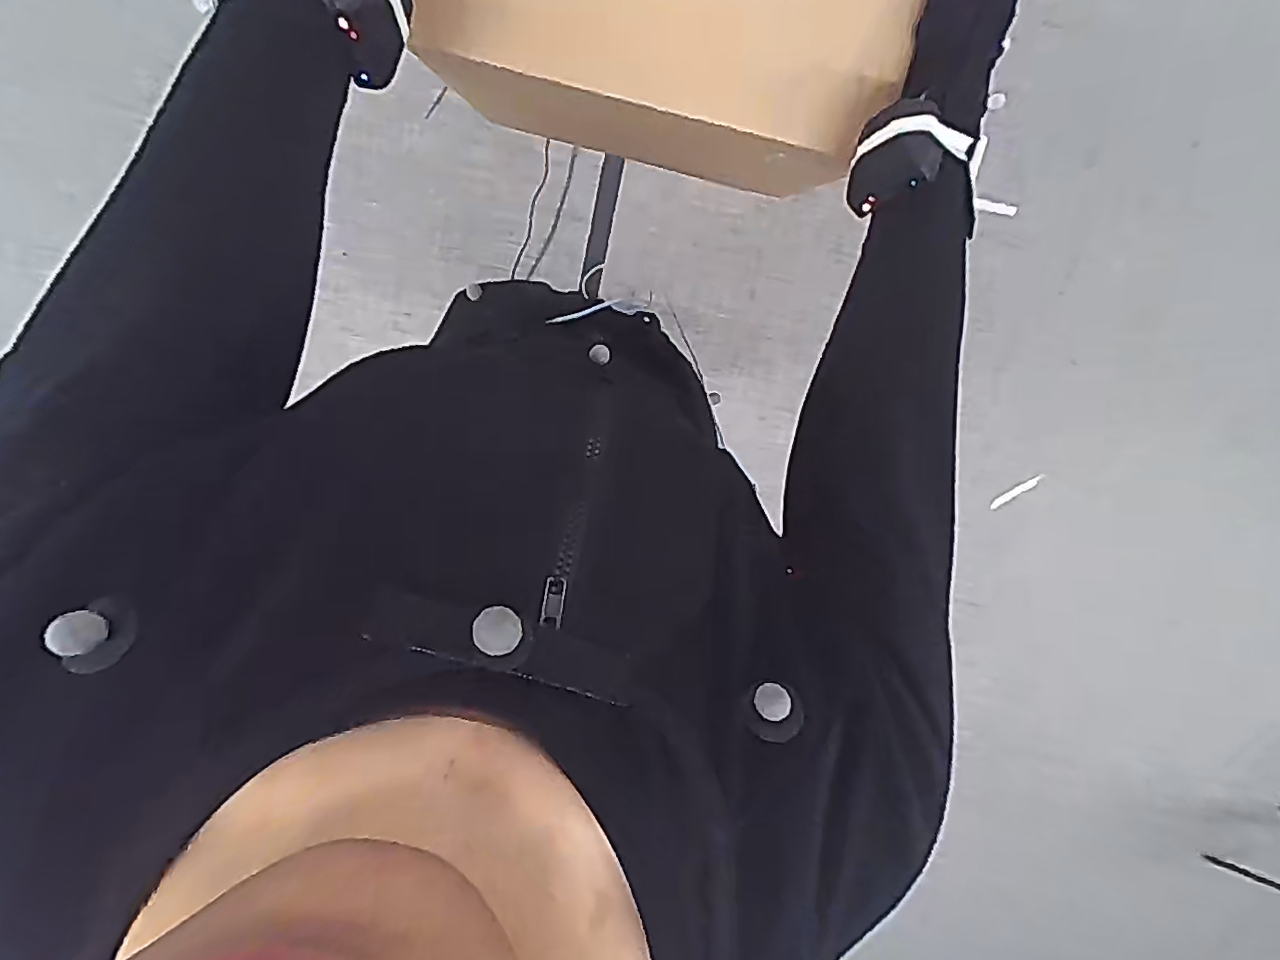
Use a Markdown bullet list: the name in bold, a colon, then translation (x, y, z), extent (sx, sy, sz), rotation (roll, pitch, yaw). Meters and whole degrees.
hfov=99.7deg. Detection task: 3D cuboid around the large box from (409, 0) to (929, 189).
- **large box**: translation (0.036, -0.506, 0.521), extent (0.408, 0.320, 0.320), rotation (11, 113, -6)
